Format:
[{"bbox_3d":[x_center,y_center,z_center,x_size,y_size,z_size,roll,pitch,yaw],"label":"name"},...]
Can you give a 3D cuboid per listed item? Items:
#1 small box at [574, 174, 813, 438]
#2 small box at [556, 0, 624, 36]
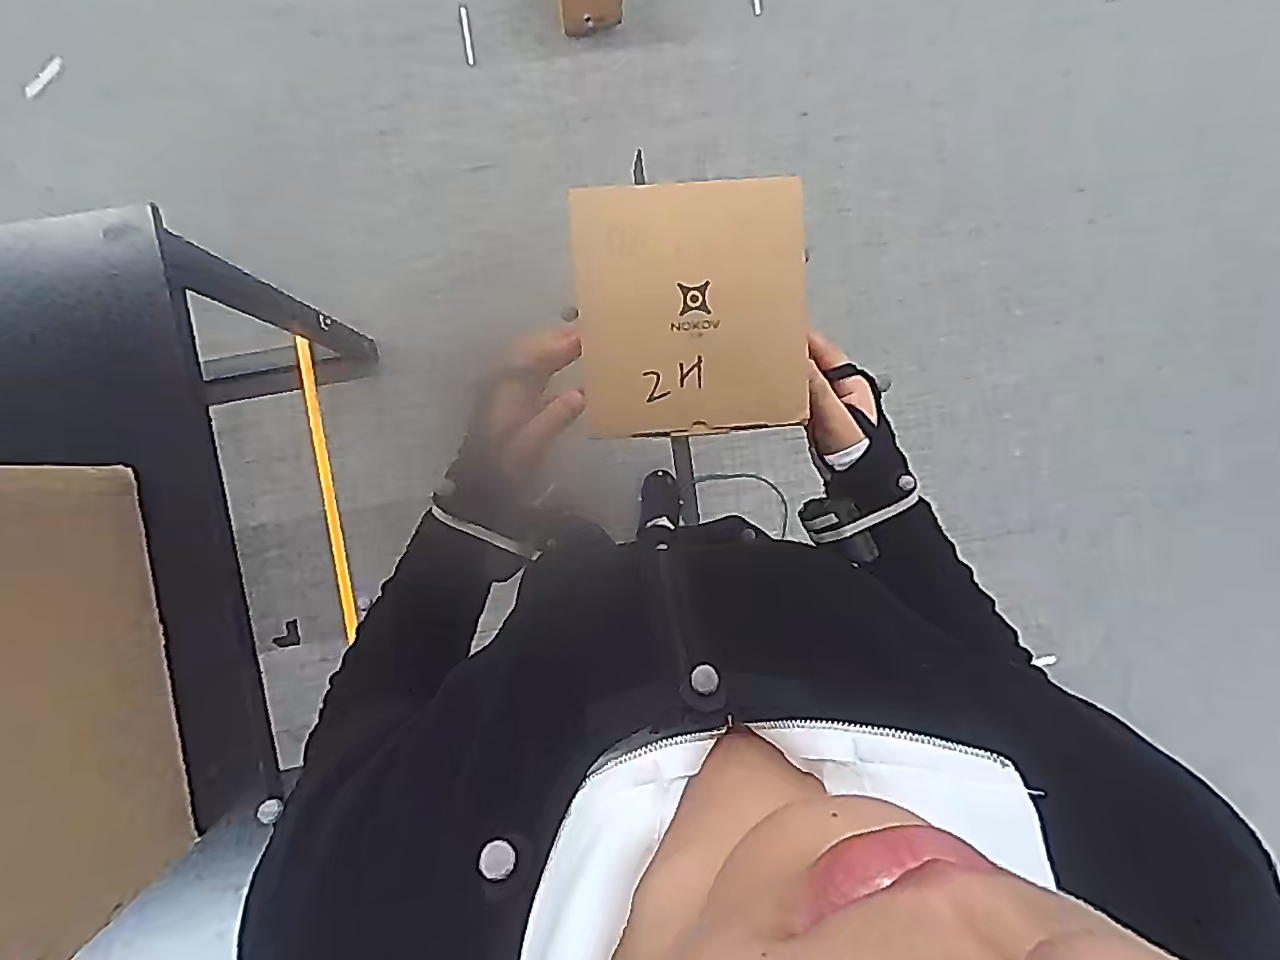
[{"bbox_3d":[0.036,-0.130,0.460,0.168,0.176,0.179,-5,98,-2],"label":"small box"},{"bbox_3d":[-0.142,-1.302,1.384,0.168,0.176,0.179,-16,93,-2],"label":"small box"}]
